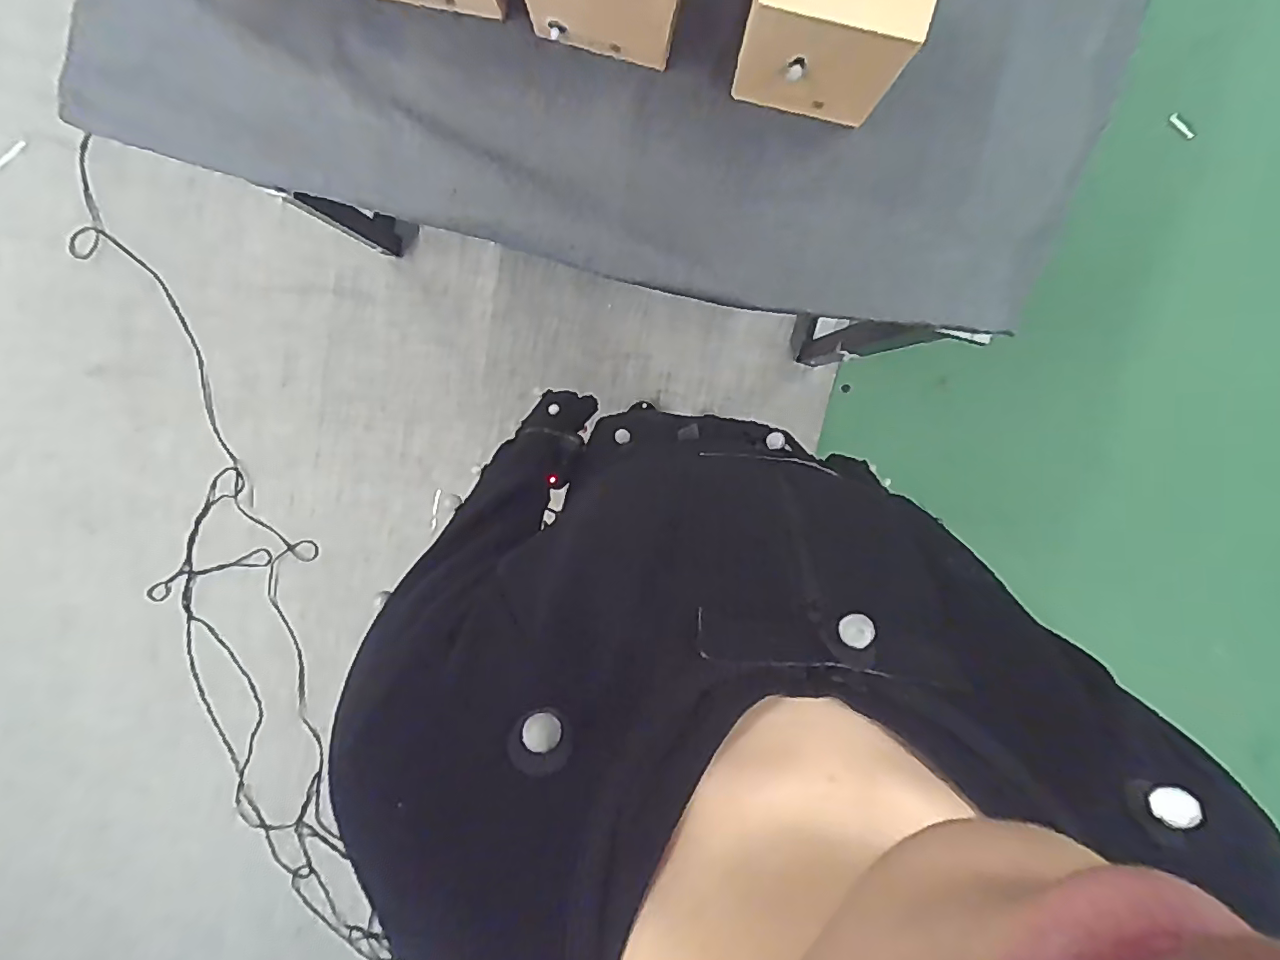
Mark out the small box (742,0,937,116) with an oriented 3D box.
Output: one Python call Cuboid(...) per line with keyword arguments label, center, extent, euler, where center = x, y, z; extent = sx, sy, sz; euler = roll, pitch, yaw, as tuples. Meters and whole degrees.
Cuboid(label="small box", center=(0.212, -0.527, 0.570), extent=(0.168, 0.176, 0.179), euler=(13, 99, 0))
